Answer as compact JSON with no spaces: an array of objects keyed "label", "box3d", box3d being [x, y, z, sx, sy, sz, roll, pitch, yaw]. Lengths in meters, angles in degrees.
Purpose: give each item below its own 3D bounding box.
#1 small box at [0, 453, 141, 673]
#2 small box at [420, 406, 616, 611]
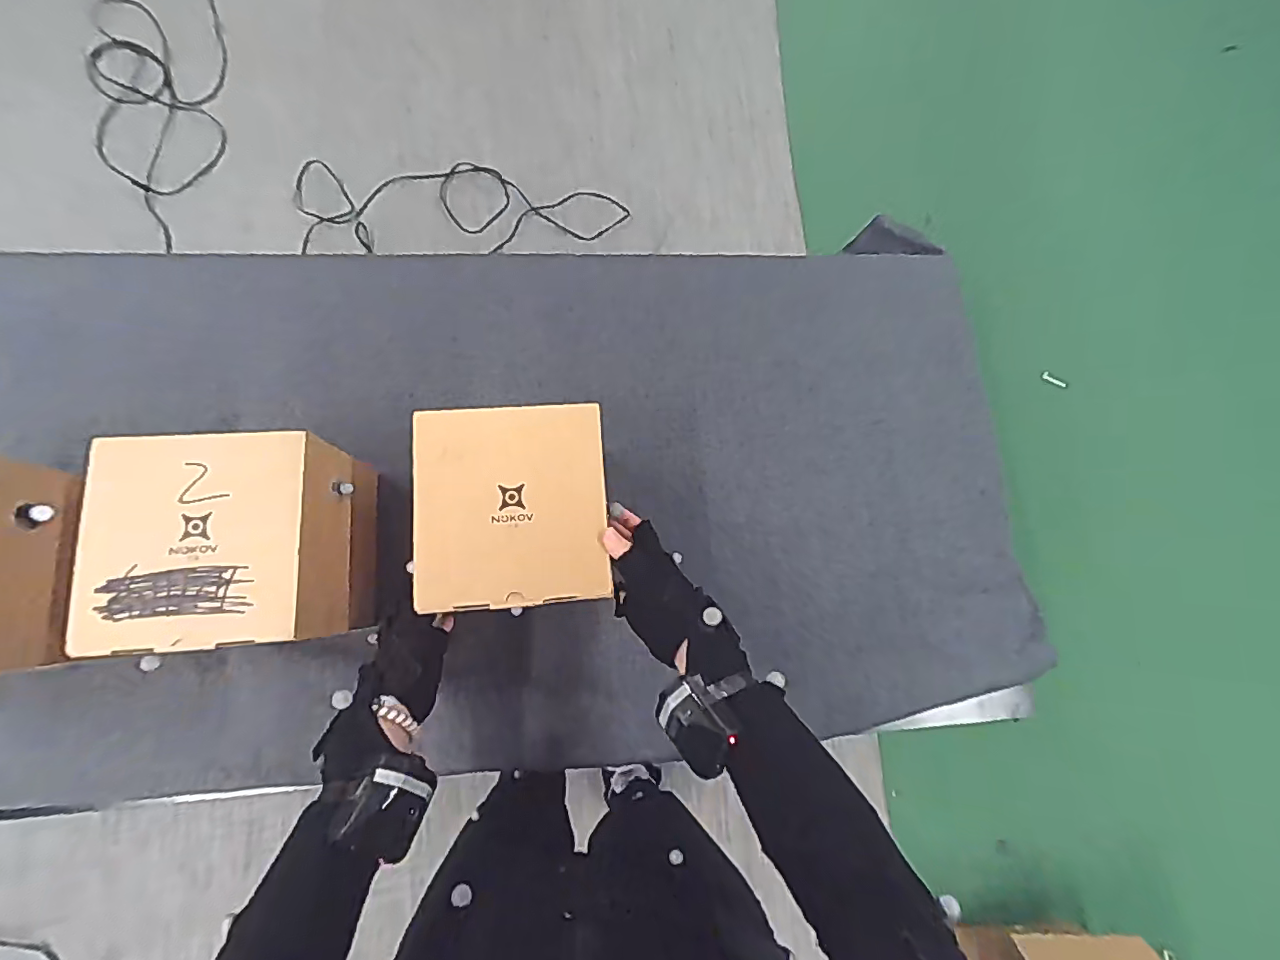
[{"label":"small box","box3d":[-0.597,0.083,0.478,0.168,0.176,0.179,-4,78,-8]},{"label":"small box","box3d":[-0.117,0.035,0.548,0.168,0.176,0.179,-4,80,-7]}]
